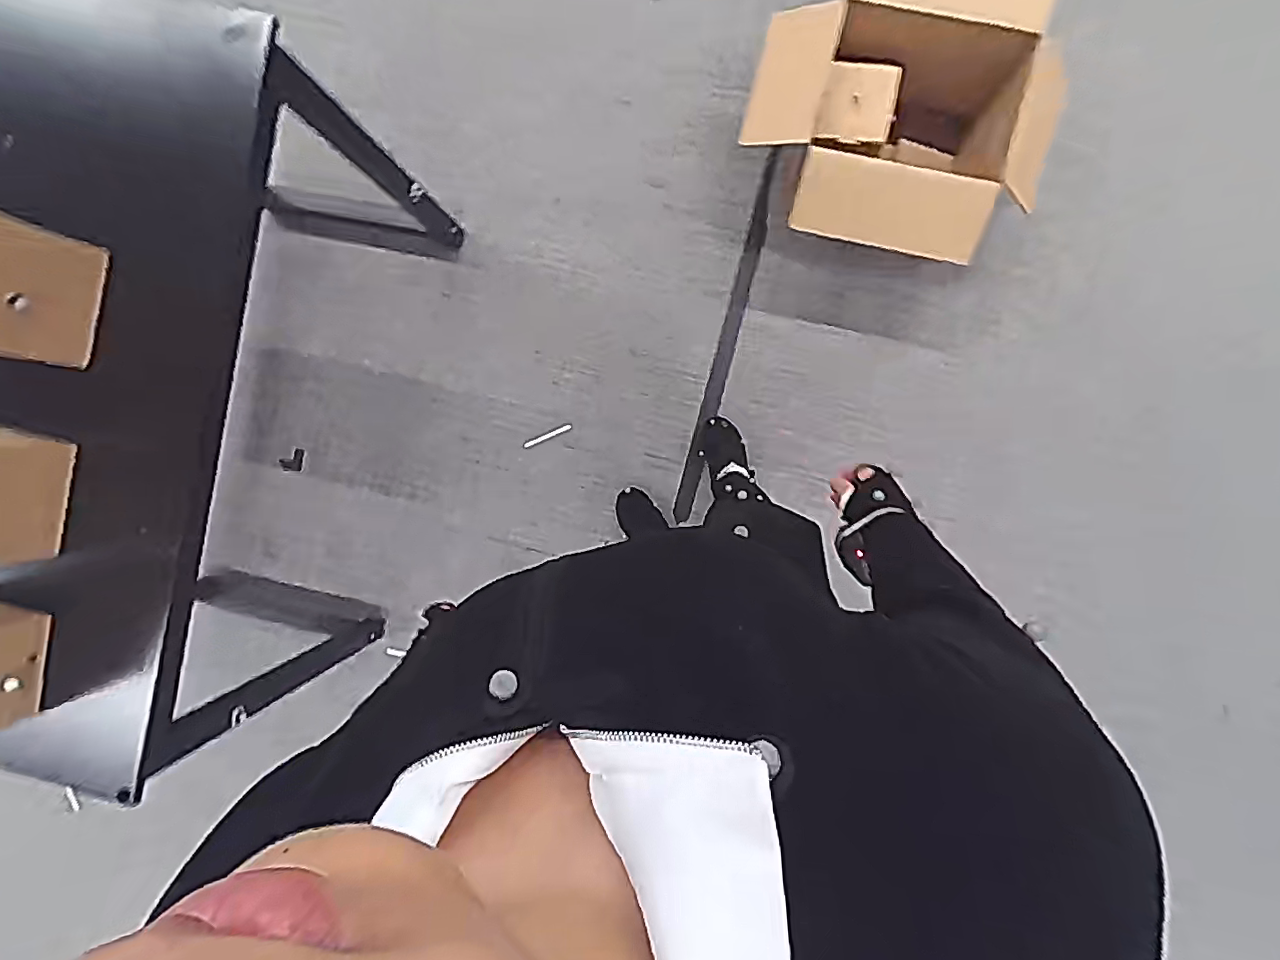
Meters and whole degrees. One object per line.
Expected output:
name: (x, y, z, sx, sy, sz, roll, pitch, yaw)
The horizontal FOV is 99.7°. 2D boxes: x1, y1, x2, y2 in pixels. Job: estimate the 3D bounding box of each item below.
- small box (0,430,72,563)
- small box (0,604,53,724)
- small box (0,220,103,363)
small box: (-0.965, 0.017, 0.755, 0.168, 0.176, 0.179, 13, 93, 4)
small box: (-1.021, 0.277, 0.772, 0.179, 0.176, 0.168, 11, 94, 3)
small box: (-0.900, -0.269, 0.739, 0.168, 0.176, 0.179, 15, 94, 4)
